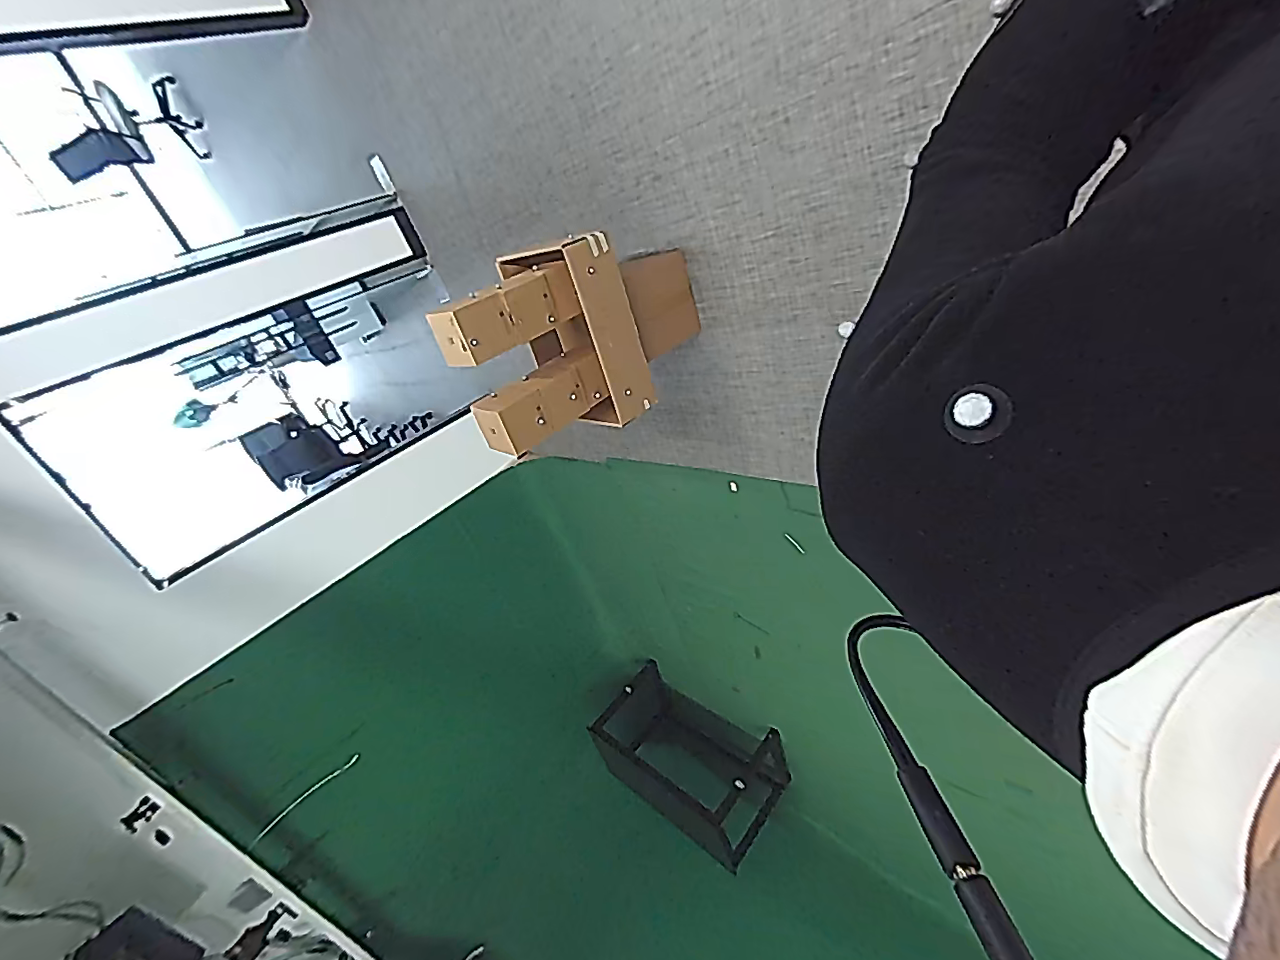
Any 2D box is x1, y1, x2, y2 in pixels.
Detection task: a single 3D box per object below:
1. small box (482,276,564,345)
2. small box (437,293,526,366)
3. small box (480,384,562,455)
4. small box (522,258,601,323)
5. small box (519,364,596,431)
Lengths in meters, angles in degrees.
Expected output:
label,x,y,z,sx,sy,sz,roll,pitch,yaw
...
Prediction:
label,x,y,z,sx,sy,sz,roll,pitch,yaw
small box,-0.365,-0.545,1.730,0.179,0.176,0.168,16,133,43
small box,-0.478,-0.459,1.647,0.179,0.176,0.168,13,131,45
small box,-0.390,-0.206,1.793,0.179,0.176,0.168,16,135,43
small box,-0.261,-0.635,1.820,0.179,0.176,0.168,14,132,44
small box,-0.282,-0.292,1.879,0.179,0.176,0.168,17,135,43
